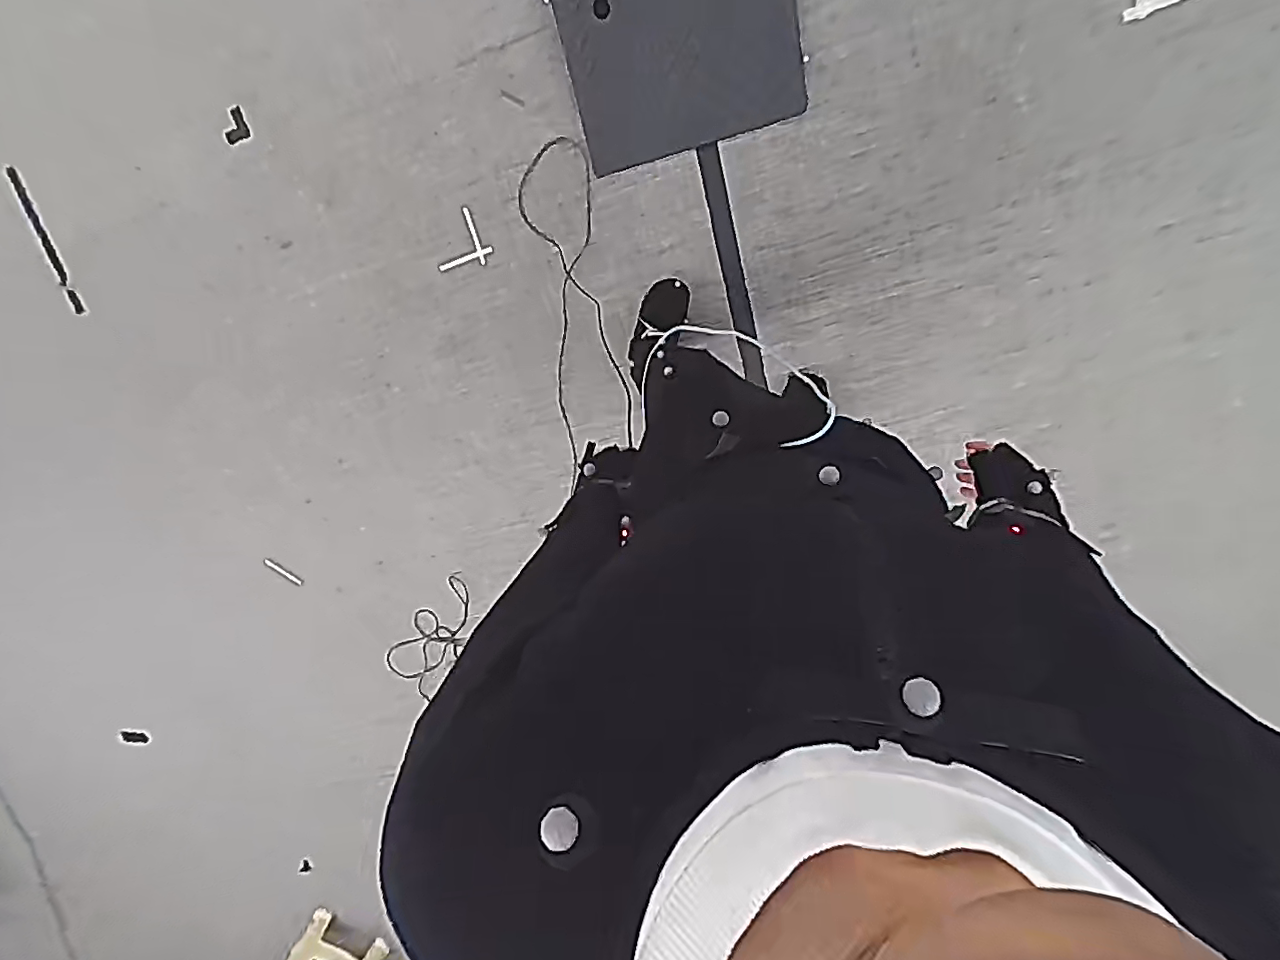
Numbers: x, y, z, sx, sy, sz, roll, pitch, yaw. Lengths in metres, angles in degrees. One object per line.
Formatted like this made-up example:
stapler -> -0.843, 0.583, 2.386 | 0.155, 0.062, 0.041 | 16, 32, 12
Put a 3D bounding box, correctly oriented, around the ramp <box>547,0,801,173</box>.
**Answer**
ramp -> -0.003, -1.199, 1.020 | 0.509, 0.206, 0.991 | -13, 106, 11
